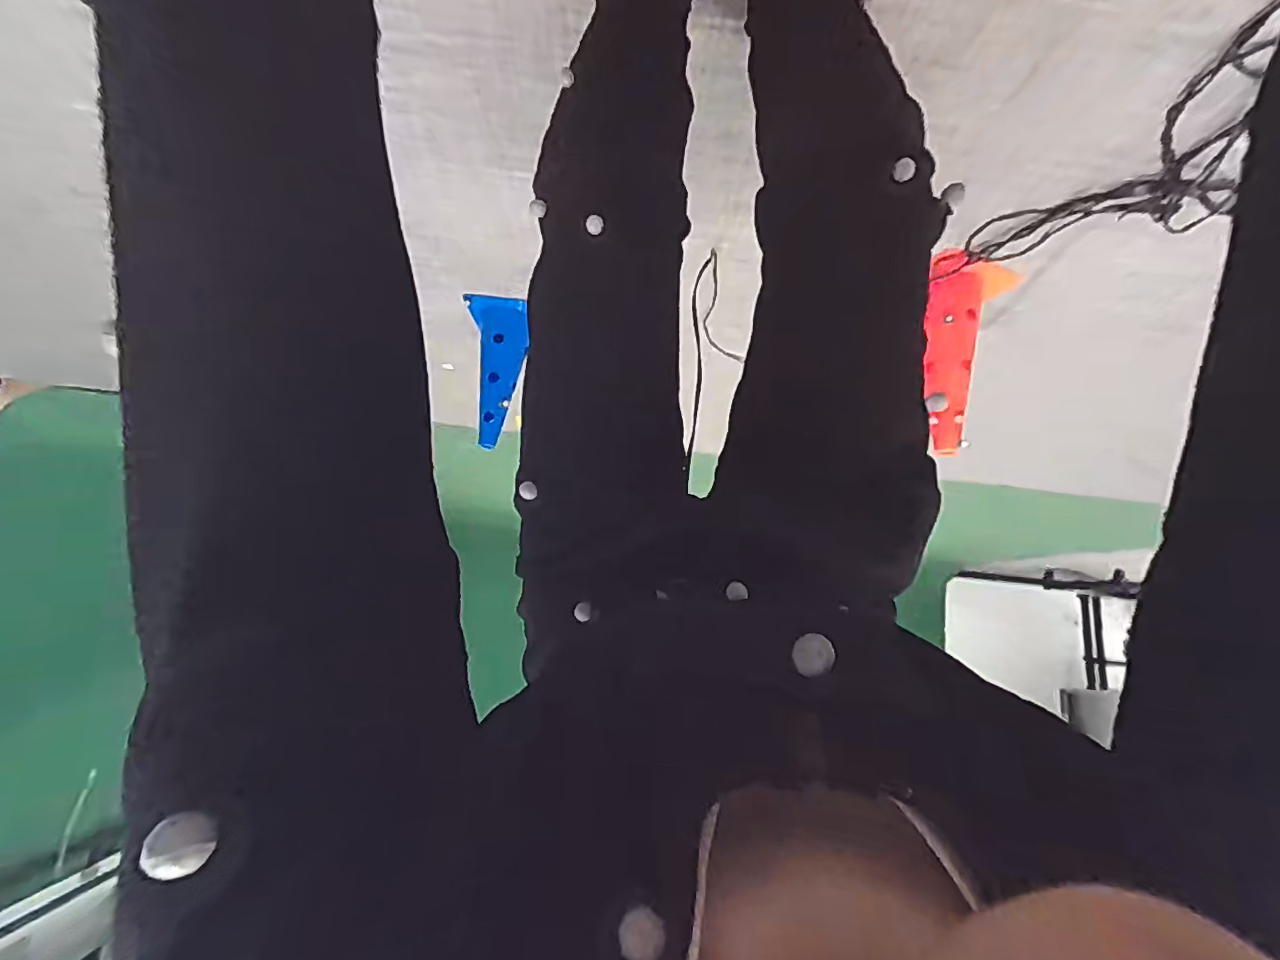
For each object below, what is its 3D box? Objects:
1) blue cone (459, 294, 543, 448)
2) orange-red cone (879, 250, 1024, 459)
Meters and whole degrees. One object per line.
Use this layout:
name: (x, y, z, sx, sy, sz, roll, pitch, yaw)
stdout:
blue cone: (-0.374, -0.266, 1.373, 0.192, 0.380, 0.193, 7, 166, 0)
orange-red cone: (0.599, -0.217, 1.043, 0.199, 0.360, 0.198, 10, 167, -20)
